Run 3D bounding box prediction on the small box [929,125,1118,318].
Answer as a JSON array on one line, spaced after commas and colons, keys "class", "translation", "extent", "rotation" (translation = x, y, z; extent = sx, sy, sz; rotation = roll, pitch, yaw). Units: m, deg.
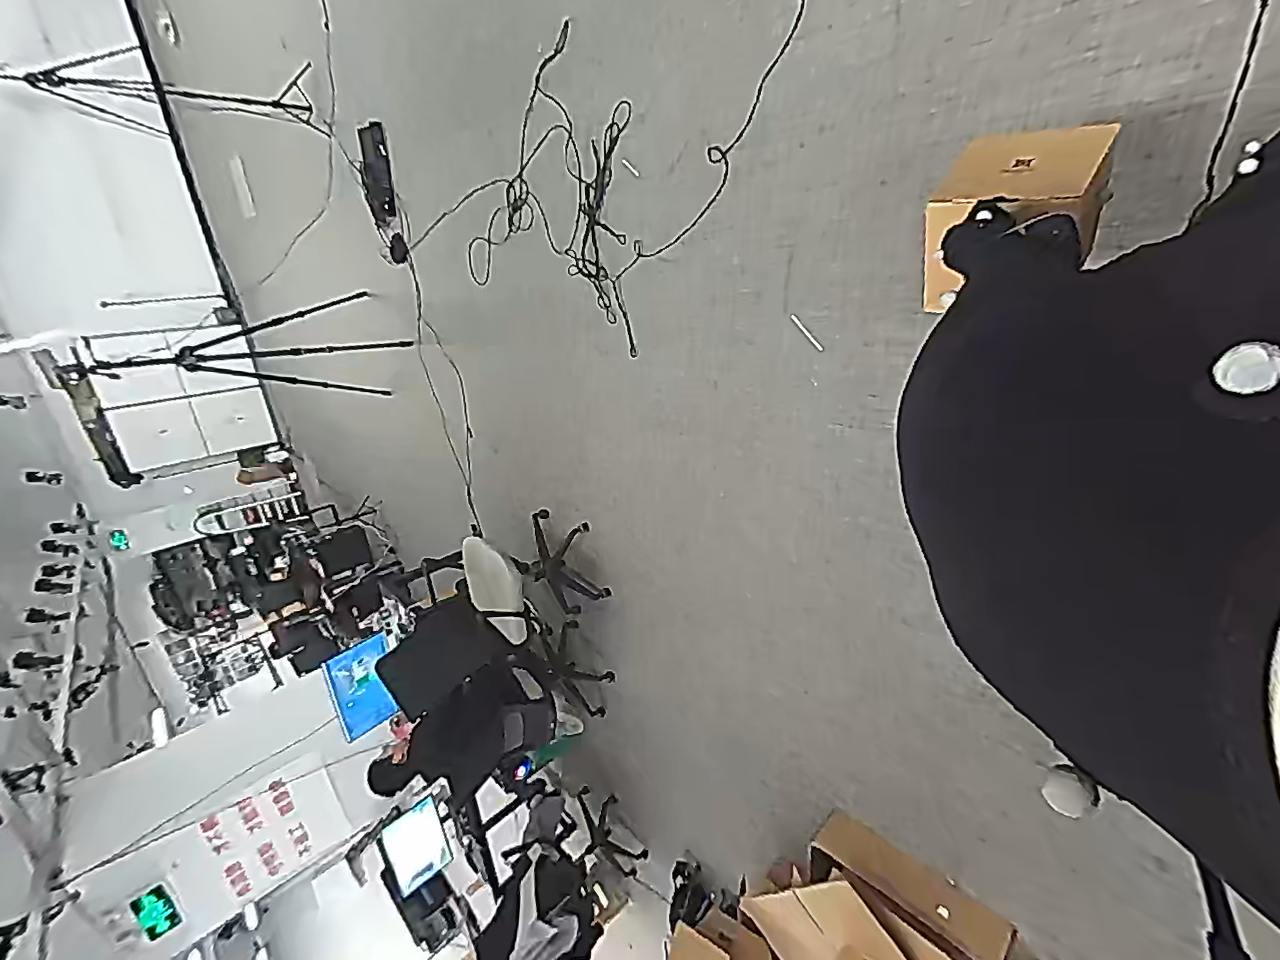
[{"class": "small box", "translation": [0.513, -0.351, 0.745], "extent": [0.168, 0.179, 0.176], "rotation": [21, 153, 38]}]
